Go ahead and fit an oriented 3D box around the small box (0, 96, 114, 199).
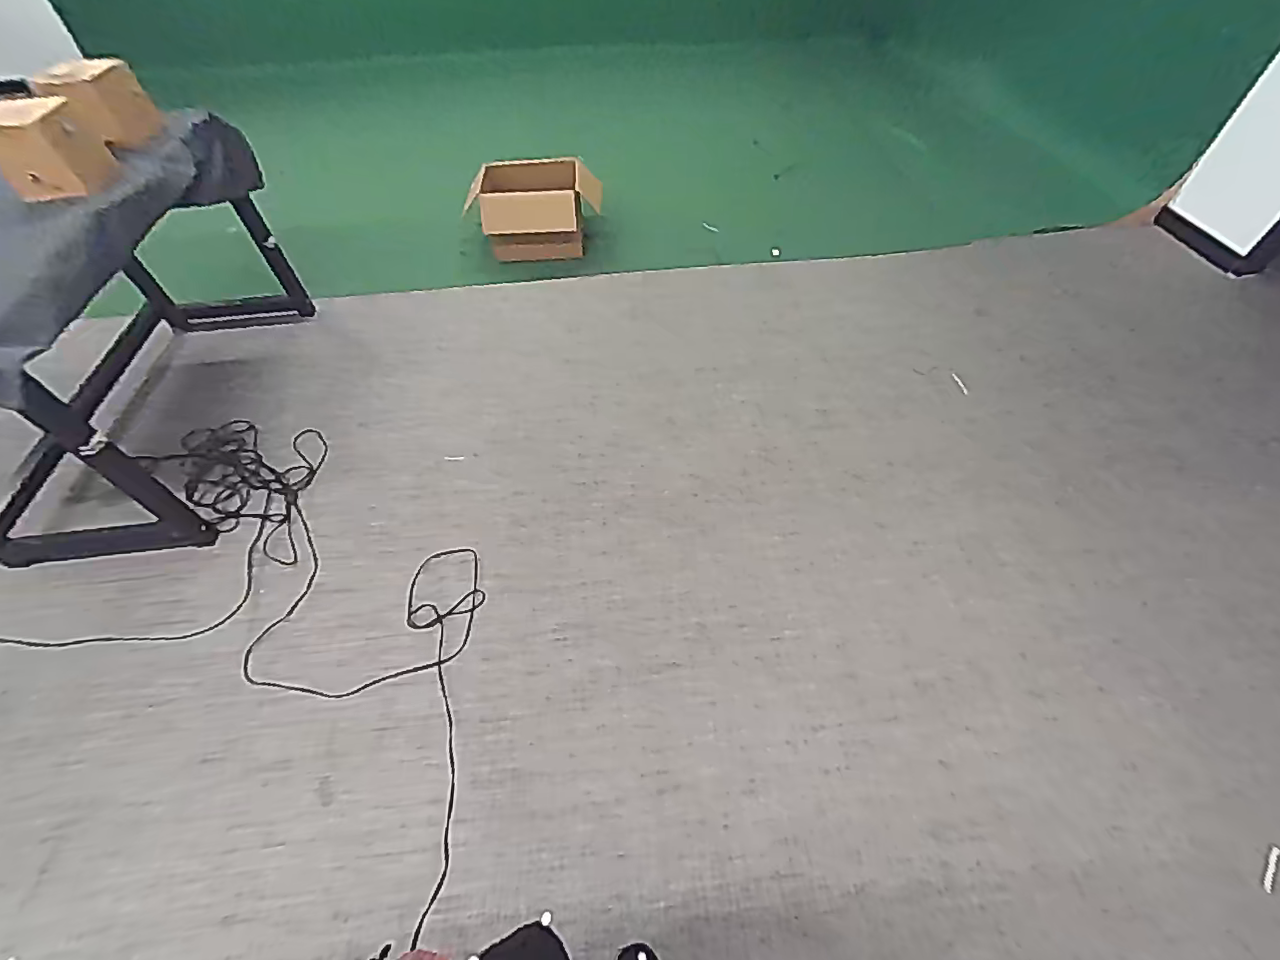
[{"bbox_3d":[-1.492,-0.831,1.356,0.168,0.176,0.179,-8,54,-5],"label":"small box"}]
